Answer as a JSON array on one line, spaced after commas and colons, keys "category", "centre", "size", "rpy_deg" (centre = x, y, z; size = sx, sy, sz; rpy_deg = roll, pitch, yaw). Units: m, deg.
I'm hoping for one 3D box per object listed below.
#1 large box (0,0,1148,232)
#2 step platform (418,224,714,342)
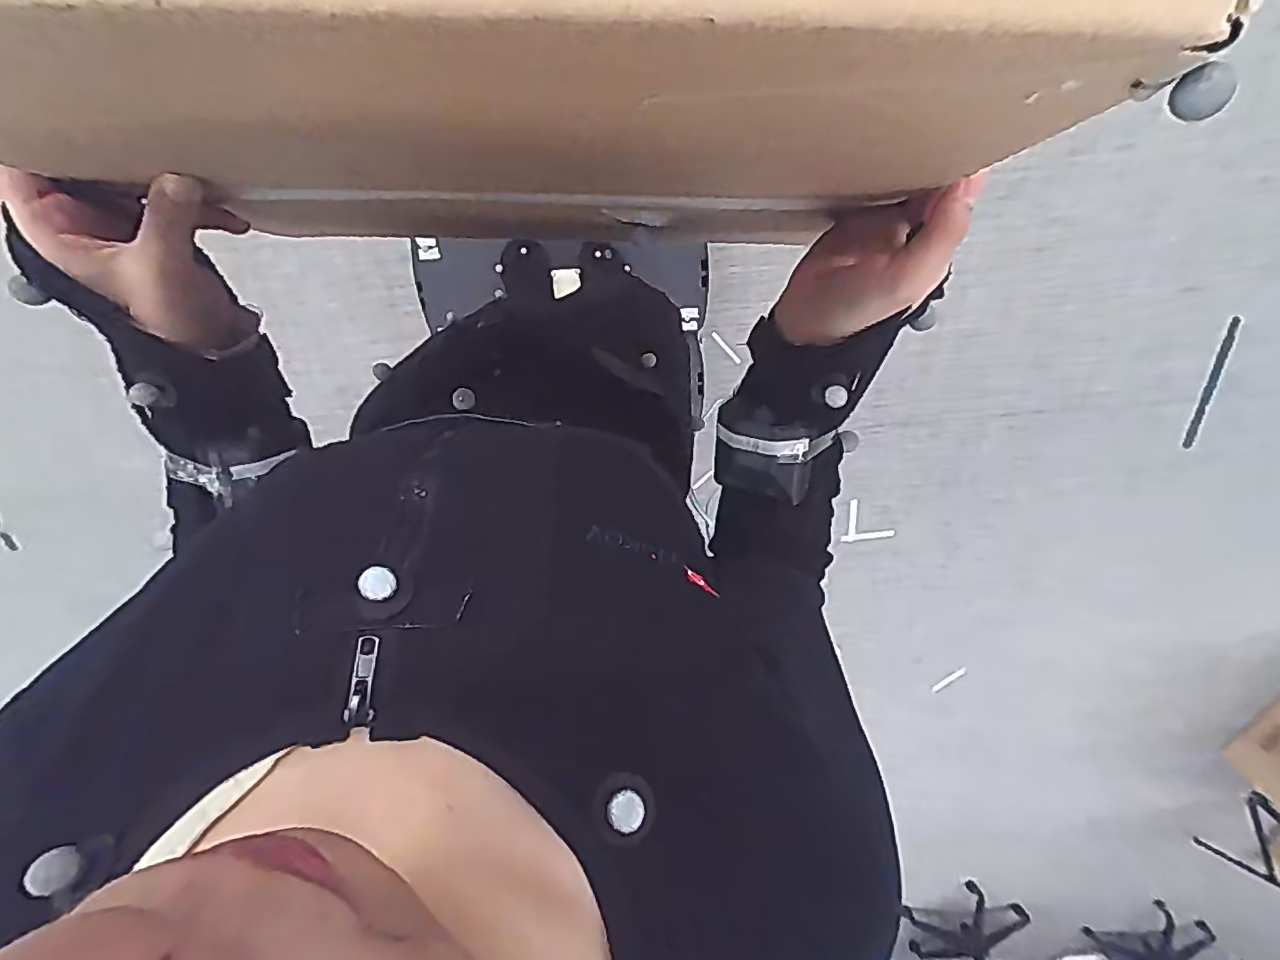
[{"category": "large box", "centre": [-0.078, -0.296, 0.223], "size": [0.408, 0.320, 0.320], "rpy_deg": [-1, 107, -1]}, {"category": "step platform", "centre": [-0.167, -0.493, 1.299], "size": [0.684, 0.204, 0.286], "rpy_deg": [0, 118, -2]}]
